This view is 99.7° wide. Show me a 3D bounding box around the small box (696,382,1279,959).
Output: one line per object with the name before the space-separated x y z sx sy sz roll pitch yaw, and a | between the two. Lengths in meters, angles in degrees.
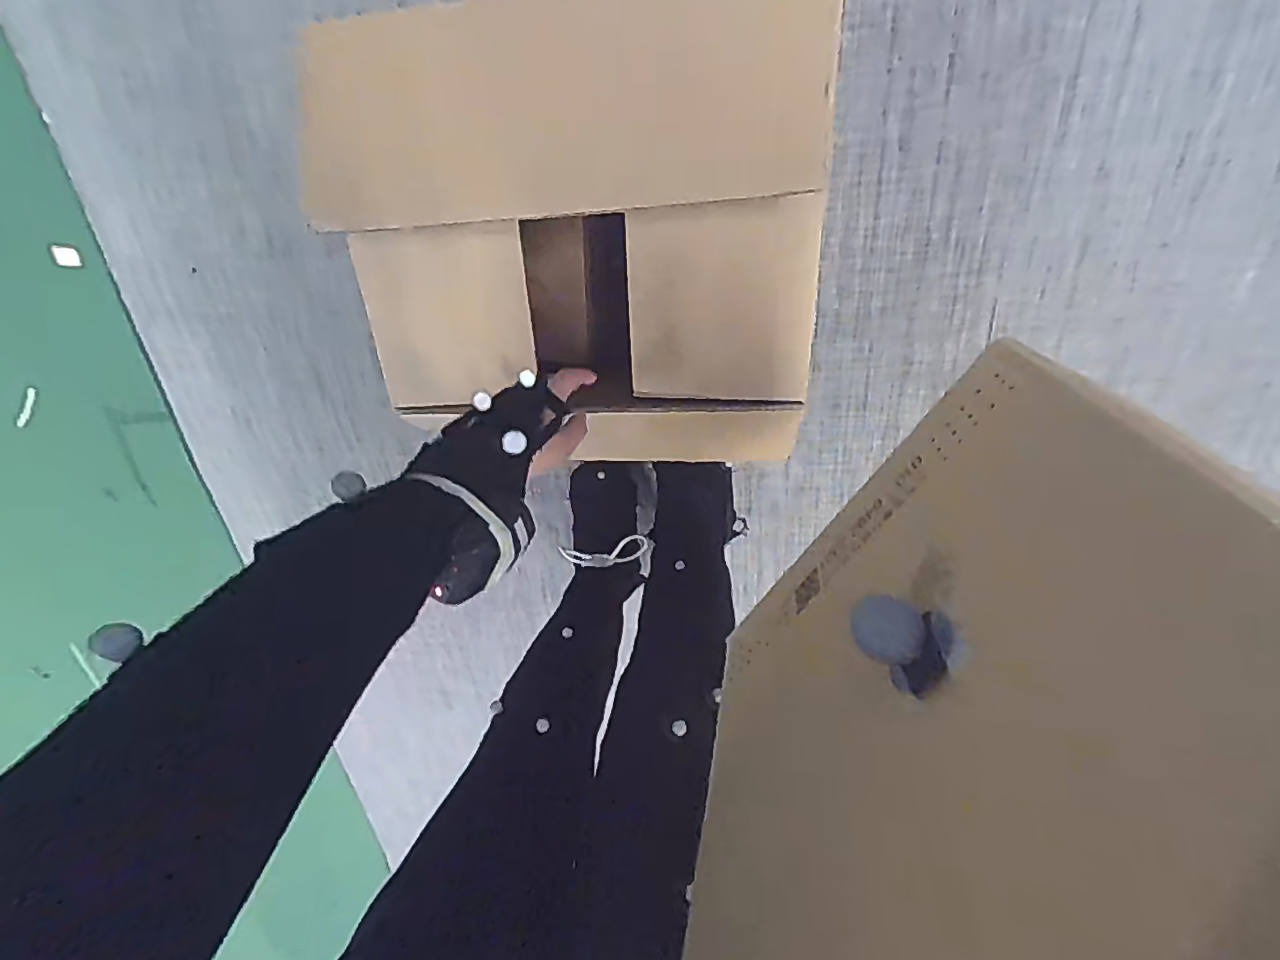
small box | 0.129 0.090 0.154 0.179 0.176 0.168 30 119 -2
